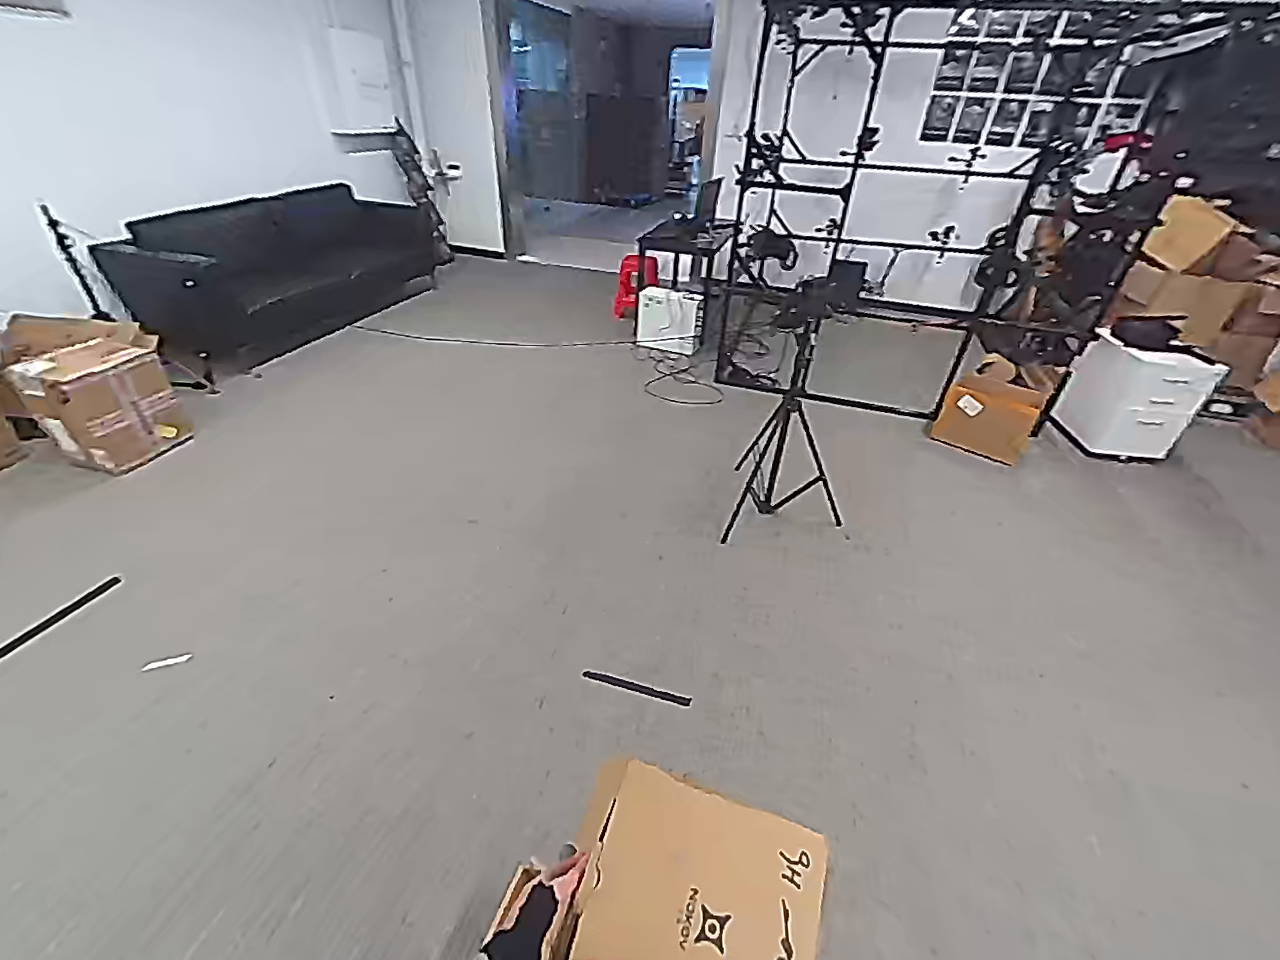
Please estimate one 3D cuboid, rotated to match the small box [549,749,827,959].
[{"bbox_3d":[0.031,0.351,0.458,0.179,0.176,0.168,21,59,1],"label":"small box"}]
